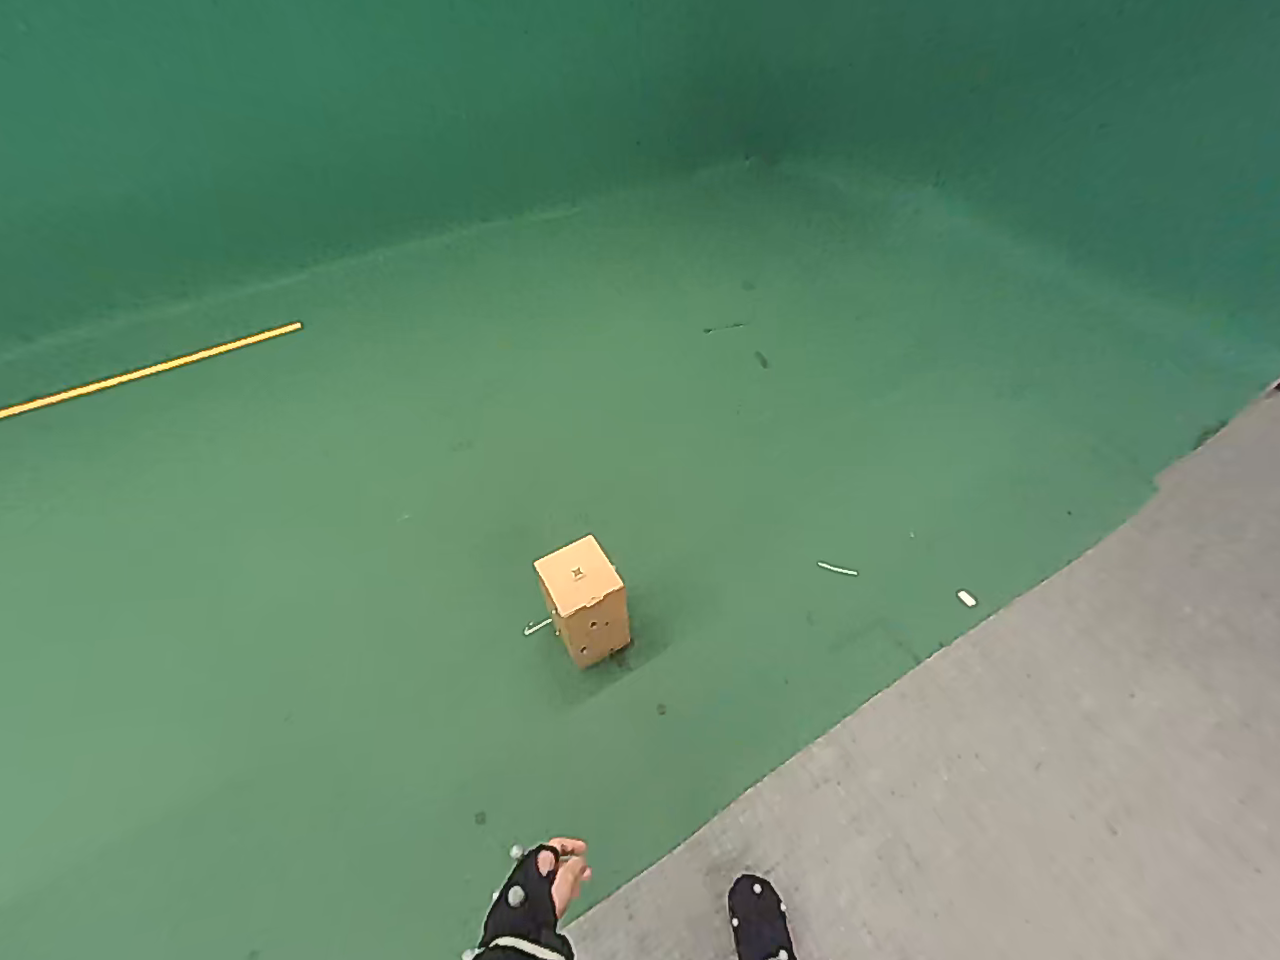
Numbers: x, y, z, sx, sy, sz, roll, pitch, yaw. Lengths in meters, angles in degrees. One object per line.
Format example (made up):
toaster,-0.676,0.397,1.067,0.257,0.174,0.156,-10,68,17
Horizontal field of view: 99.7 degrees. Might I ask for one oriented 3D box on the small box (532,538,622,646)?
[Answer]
small box,-0.157,0.284,1.367,0.168,0.176,0.179,-24,53,-20
